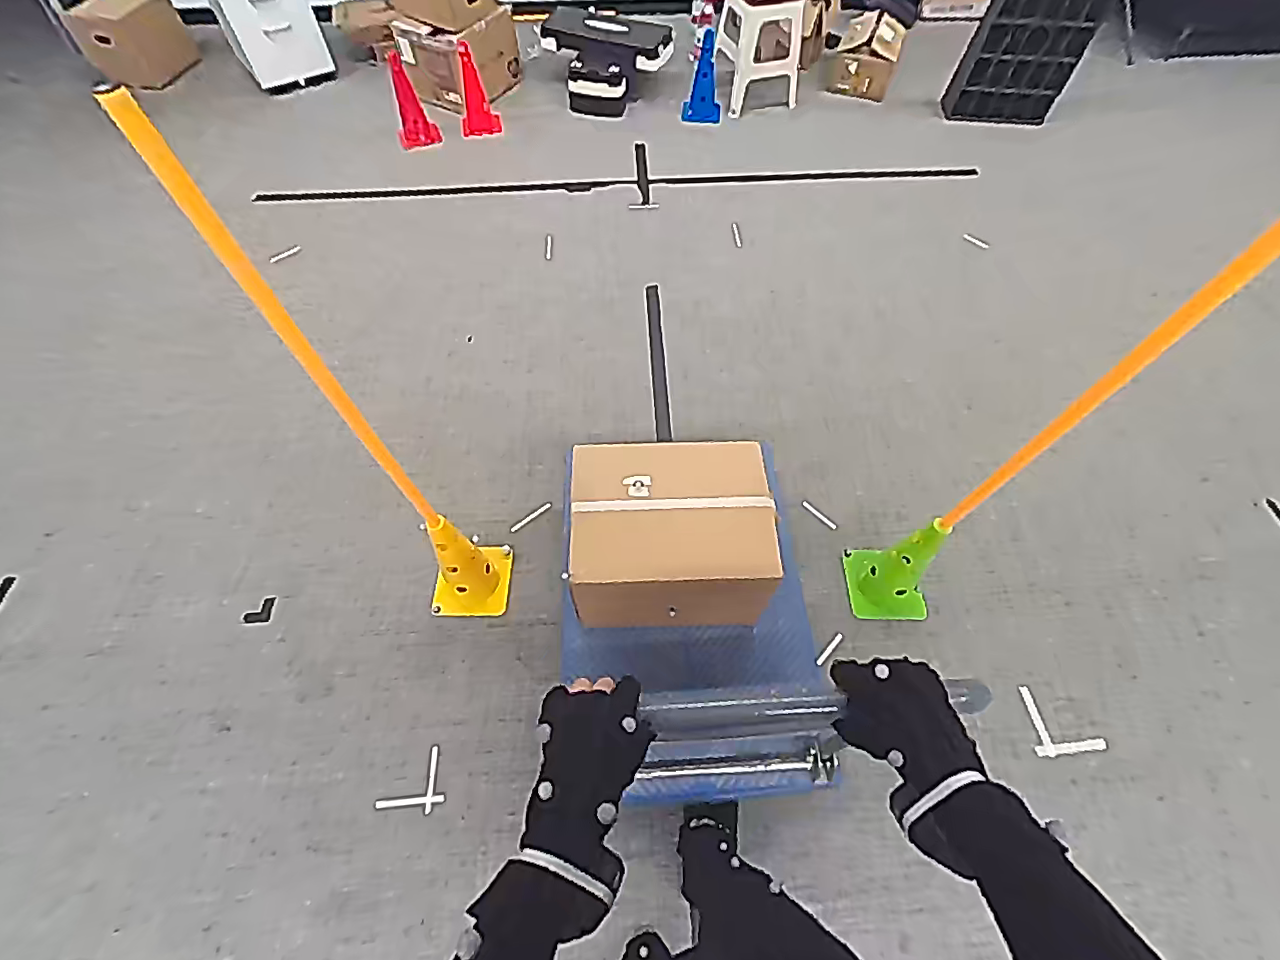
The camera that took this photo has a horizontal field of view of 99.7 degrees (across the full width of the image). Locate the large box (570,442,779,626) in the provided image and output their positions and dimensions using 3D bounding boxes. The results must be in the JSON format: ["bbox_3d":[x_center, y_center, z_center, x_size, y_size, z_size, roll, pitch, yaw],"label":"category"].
[{"bbox_3d":[0.063,0.132,1.218,0.408,0.320,0.320,-2,59,0],"label":"large box"}]

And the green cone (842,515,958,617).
[{"bbox_3d":[0.677,0.192,1.352,0.202,0.368,0.200,1,59,-1],"label":"green cone"}]
